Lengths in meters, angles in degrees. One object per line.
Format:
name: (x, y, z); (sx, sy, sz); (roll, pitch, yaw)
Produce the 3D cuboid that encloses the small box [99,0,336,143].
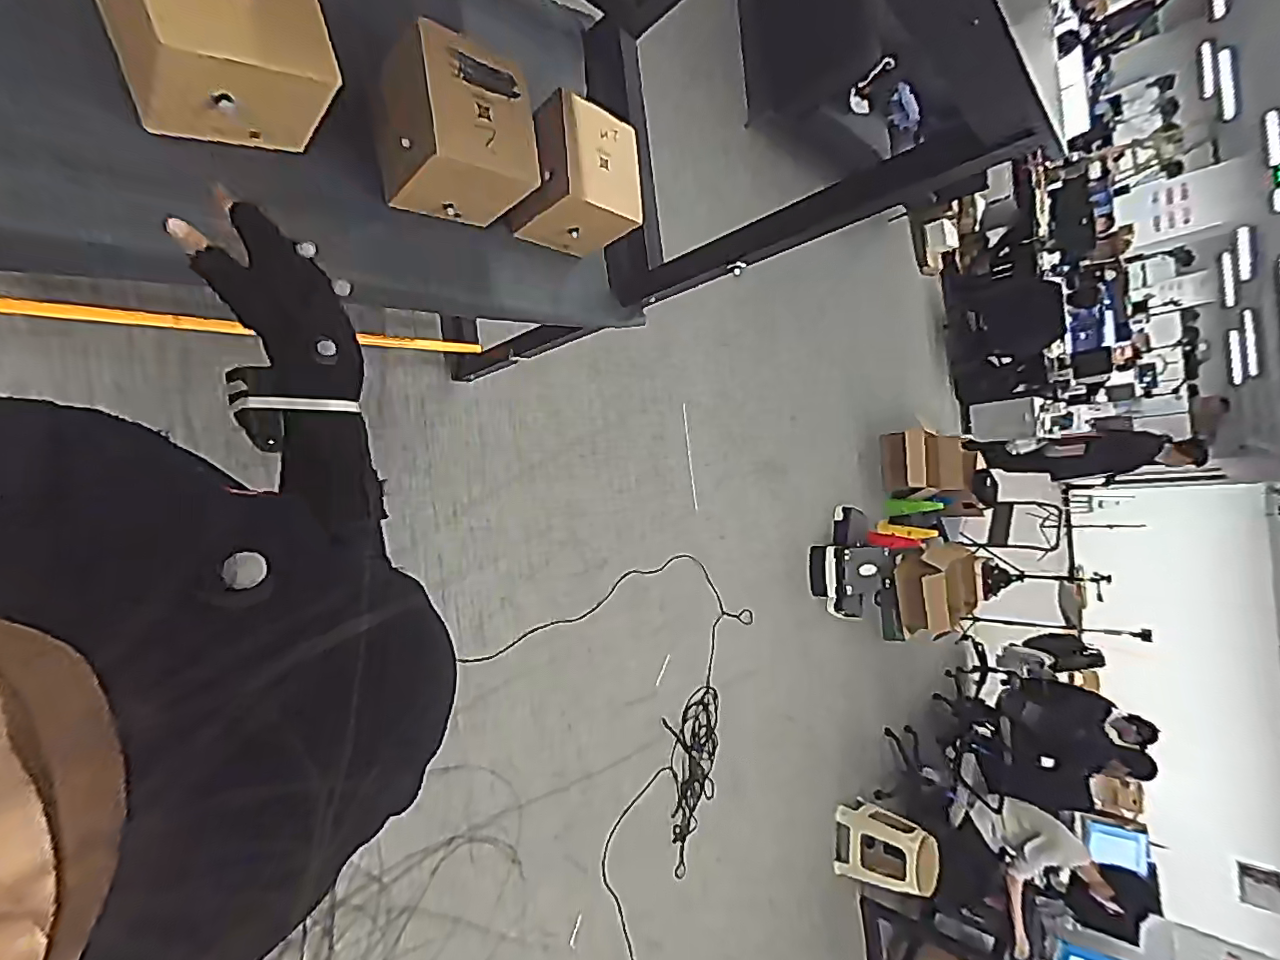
small box: (-0.471, -0.510, 0.598); (0.168, 0.176, 0.179); (-23, 103, -45)
